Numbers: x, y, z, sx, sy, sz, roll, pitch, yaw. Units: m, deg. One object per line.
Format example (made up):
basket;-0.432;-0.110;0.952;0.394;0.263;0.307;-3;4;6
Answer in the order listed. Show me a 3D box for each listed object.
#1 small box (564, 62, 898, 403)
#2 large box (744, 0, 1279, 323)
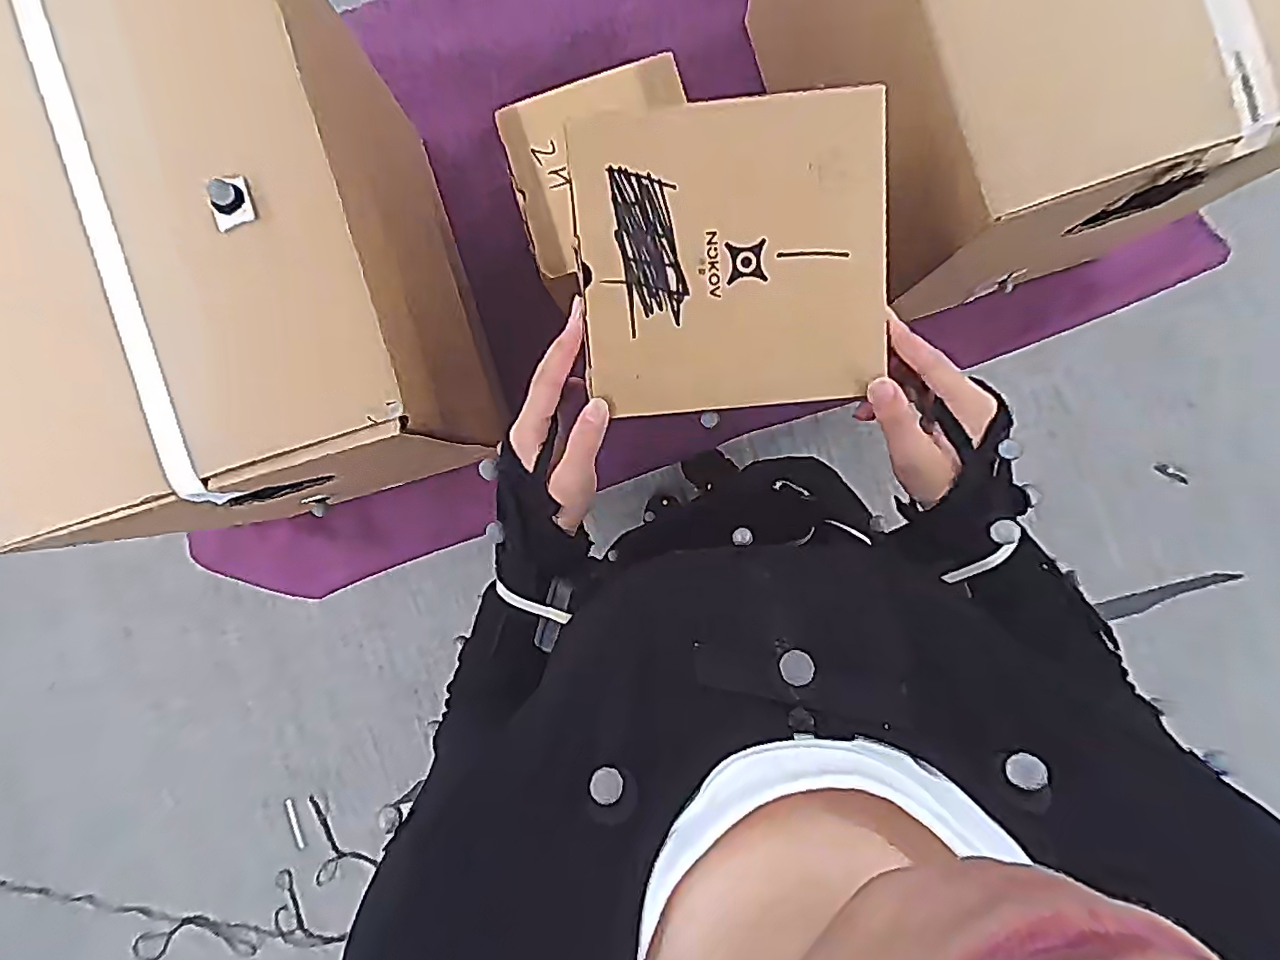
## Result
small box;0.053;-0.142;0.372;0.179;0.176;0.168;-5;100;0
large box;0.312;-0.398;0.476;0.320;0.320;0.408;-18;89;3
